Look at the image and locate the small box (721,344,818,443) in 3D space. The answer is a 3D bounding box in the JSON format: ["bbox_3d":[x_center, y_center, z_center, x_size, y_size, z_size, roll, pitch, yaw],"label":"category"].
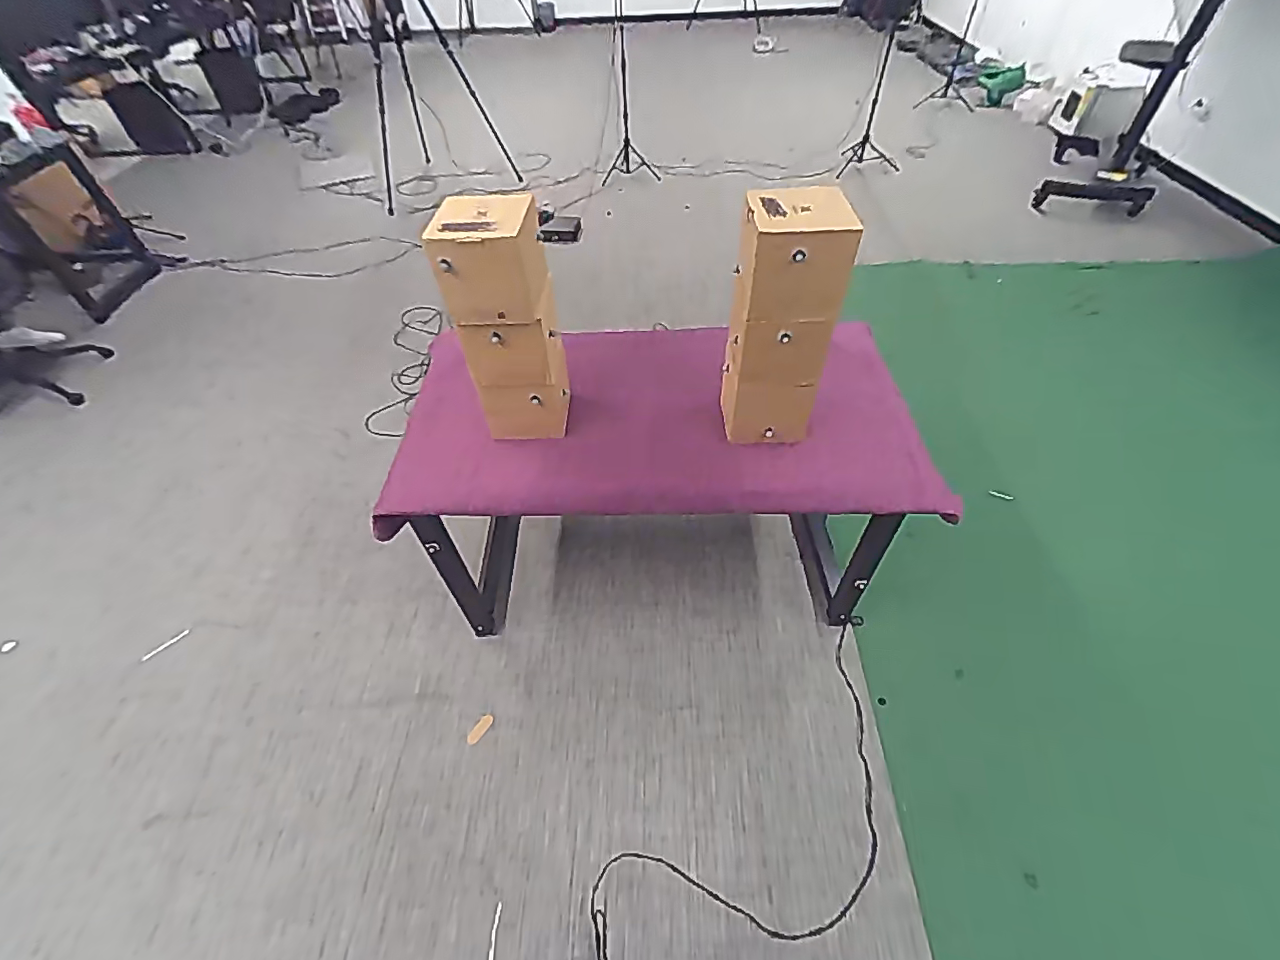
[{"bbox_3d":[0.288,-0.198,1.241,0.179,0.176,0.168,-2,49,1],"label":"small box"}]

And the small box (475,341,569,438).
[{"bbox_3d":[-0.266,-0.211,1.273,0.179,0.176,0.168,0,49,1],"label":"small box"}]

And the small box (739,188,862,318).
[{"bbox_3d":[0.281,-0.413,0.994,0.179,0.176,0.168,-2,51,1],"label":"small box"}]

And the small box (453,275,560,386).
[{"bbox_3d":[-0.271,-0.313,1.148,0.179,0.176,0.168,-1,50,2],"label":"small box"}]

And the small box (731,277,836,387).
[{"bbox_3d":[0.283,-0.305,1.118,0.179,0.176,0.168,-1,50,2],"label":"small box"}]
